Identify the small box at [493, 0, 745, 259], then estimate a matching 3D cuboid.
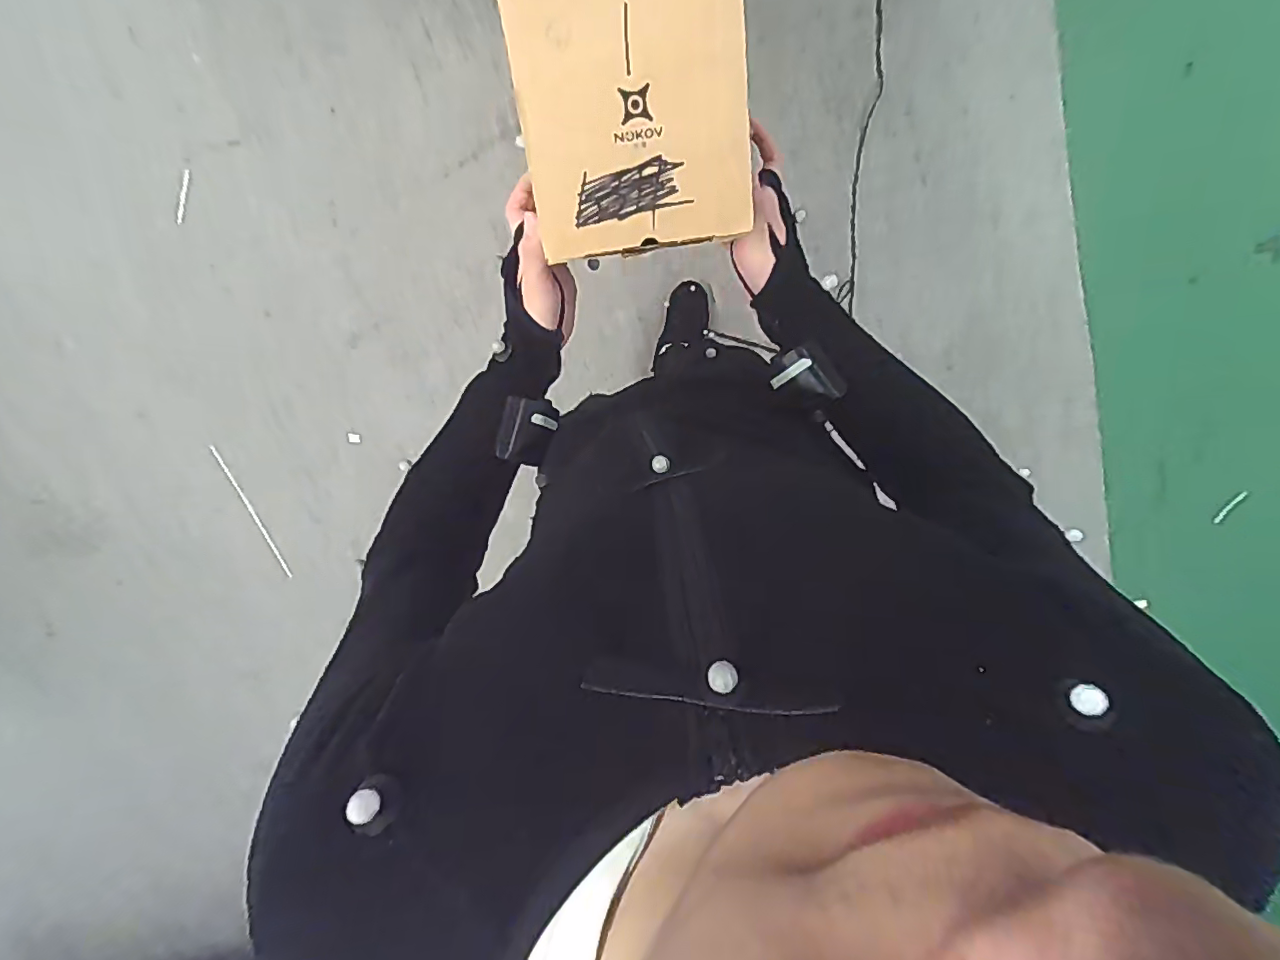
[{"bbox_3d":[-0.010,-0.294,0.460,0.168,0.176,0.179,-8,113,1],"label":"small box"}]
